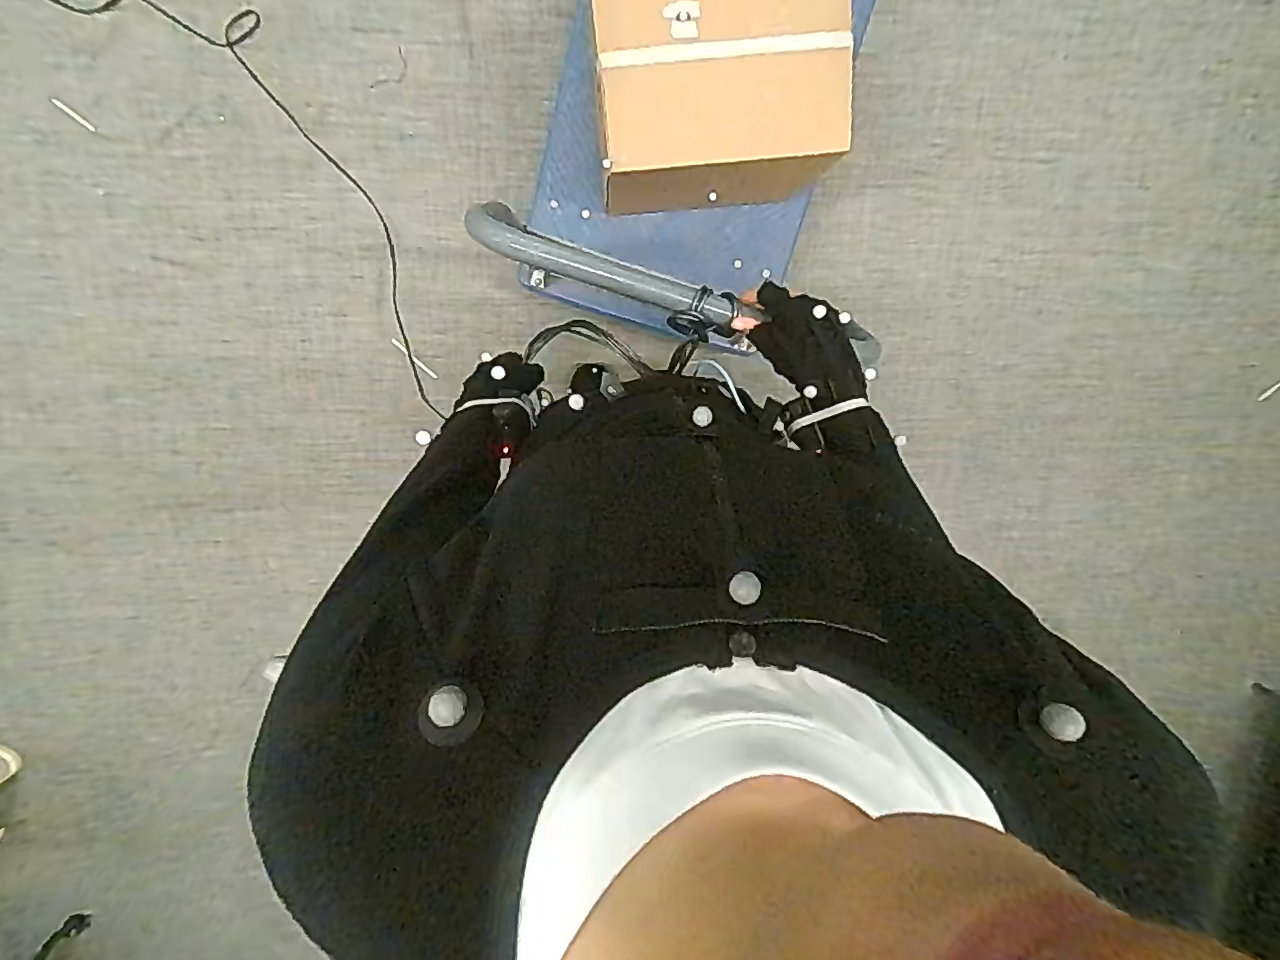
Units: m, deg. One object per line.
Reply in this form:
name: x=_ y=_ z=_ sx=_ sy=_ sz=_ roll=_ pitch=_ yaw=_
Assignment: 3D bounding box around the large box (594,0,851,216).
large box: x=0.134 y=-0.710 z=1.010 sx=0.408 sy=0.320 sz=0.320 roll=-7 pitch=103 yaw=-2
